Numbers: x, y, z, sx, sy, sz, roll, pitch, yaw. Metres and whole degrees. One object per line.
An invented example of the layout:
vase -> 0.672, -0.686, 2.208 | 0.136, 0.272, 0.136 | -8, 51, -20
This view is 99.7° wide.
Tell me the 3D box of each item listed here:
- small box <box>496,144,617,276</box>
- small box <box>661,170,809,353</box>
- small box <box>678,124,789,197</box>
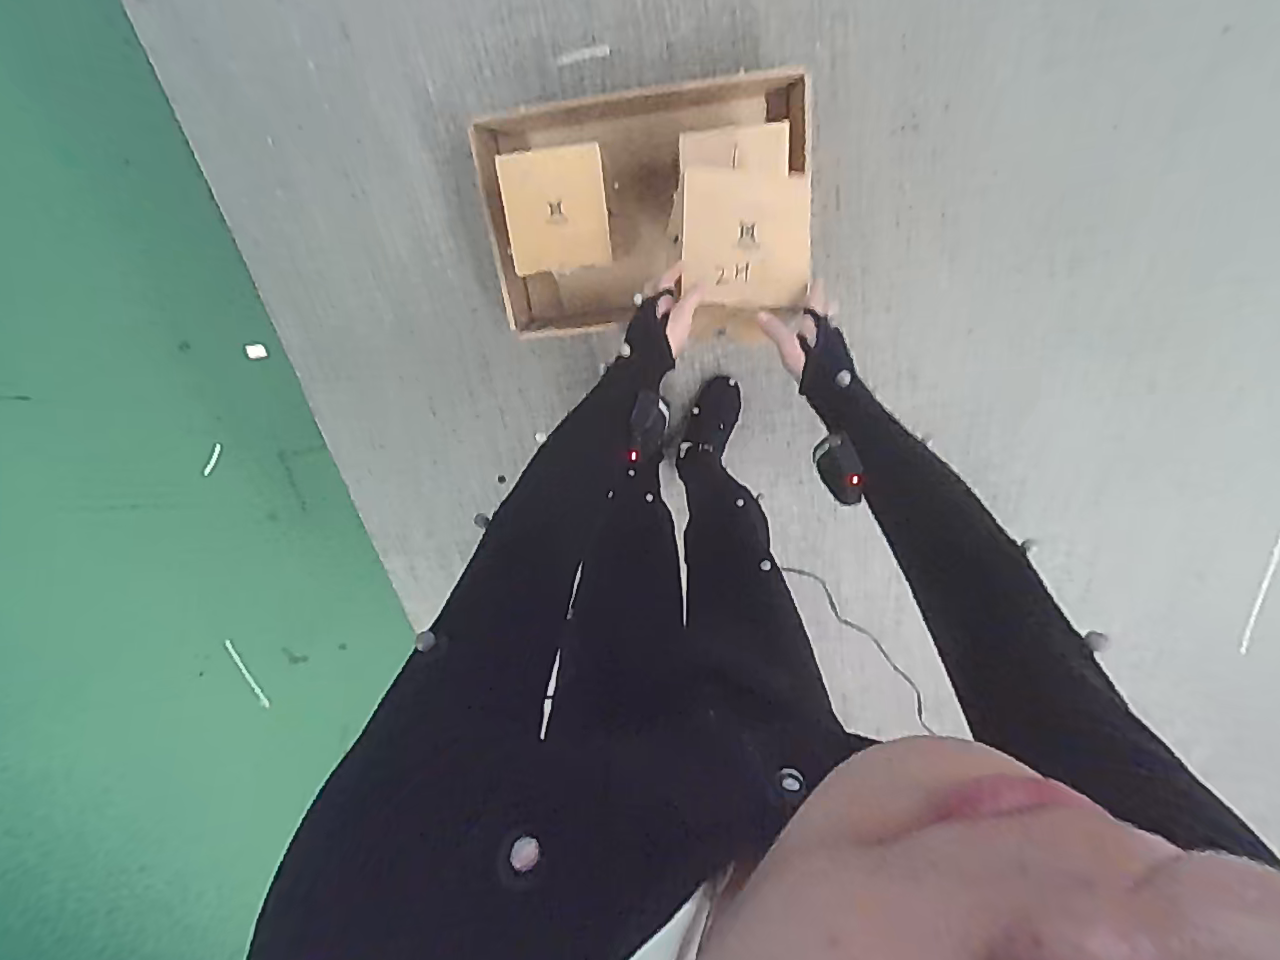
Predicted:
small box -> -0.132, -0.454, 0.928 | 0.168, 0.176, 0.179 | -6, 114, 4
small box -> 0.124, -0.293, 0.758 | 0.168, 0.176, 0.179 | 3, 86, -6
small box -> 0.150, -0.473, 0.906 | 0.168, 0.176, 0.179 | -3, 113, 5
